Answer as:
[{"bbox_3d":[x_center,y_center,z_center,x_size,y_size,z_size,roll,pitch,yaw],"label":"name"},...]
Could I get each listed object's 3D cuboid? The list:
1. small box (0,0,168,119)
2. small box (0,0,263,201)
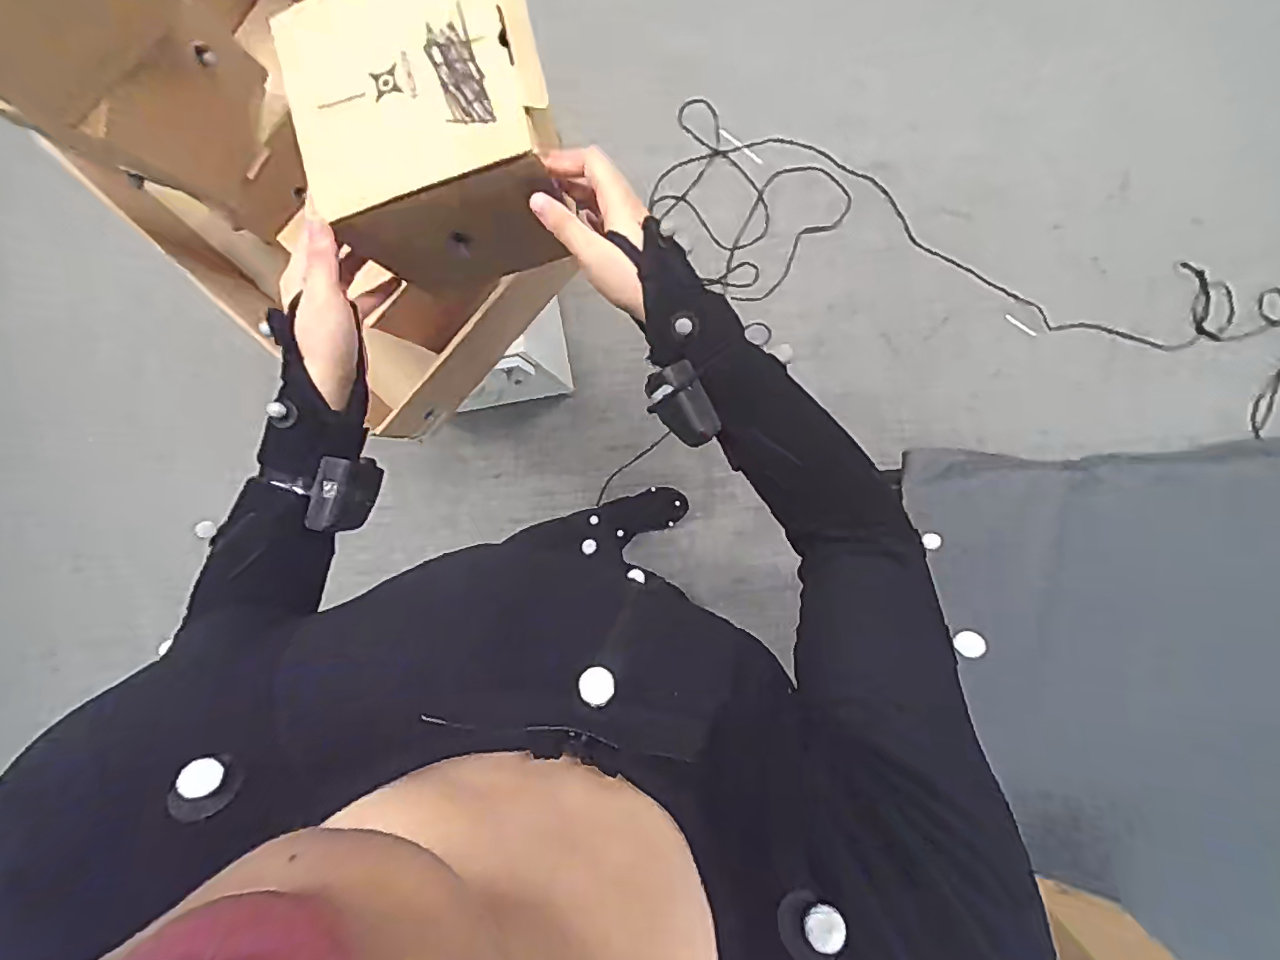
[{"bbox_3d":[-0.537,-0.447,0.425,0.179,0.176,0.168,-42,92,4],"label":"small box"},{"bbox_3d":[-0.559,-0.445,0.591,0.168,0.176,0.179,17,96,1],"label":"small box"}]
